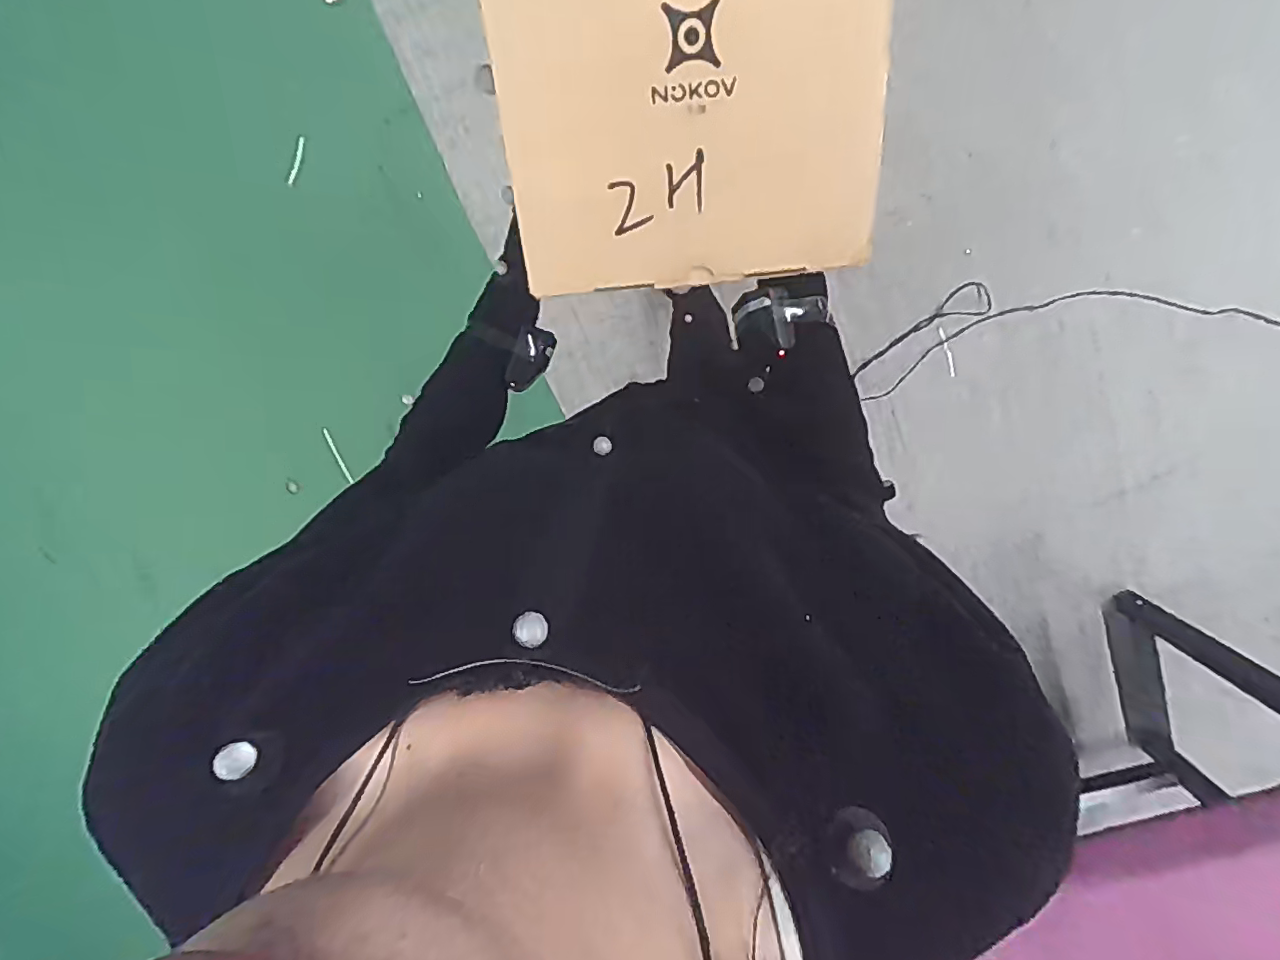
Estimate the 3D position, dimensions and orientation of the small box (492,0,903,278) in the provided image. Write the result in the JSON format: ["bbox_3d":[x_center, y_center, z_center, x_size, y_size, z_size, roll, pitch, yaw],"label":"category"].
[{"bbox_3d":[0.022,-0.212,0.291,0.168,0.176,0.179,-4,115,1],"label":"small box"}]
